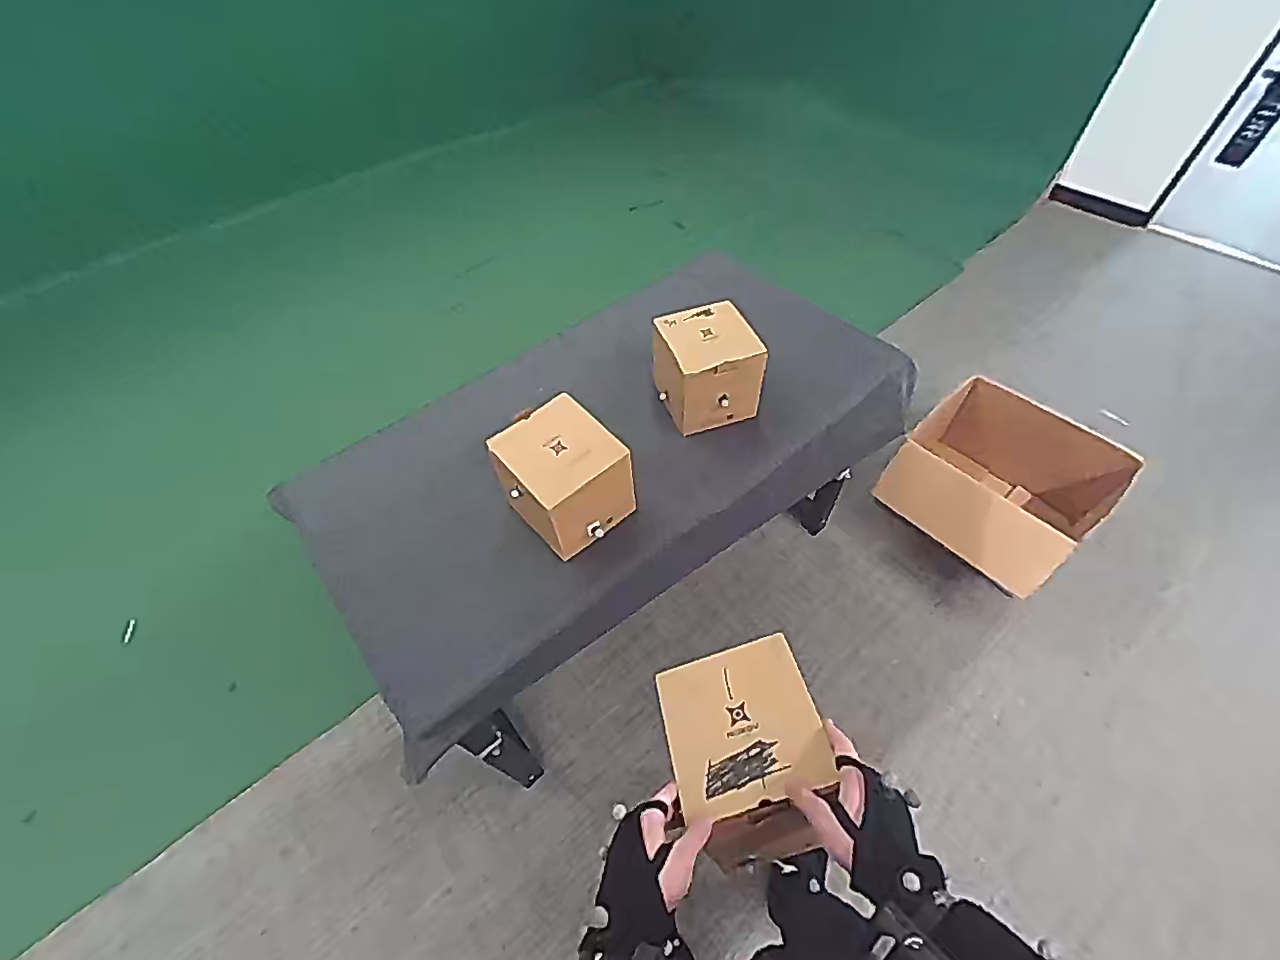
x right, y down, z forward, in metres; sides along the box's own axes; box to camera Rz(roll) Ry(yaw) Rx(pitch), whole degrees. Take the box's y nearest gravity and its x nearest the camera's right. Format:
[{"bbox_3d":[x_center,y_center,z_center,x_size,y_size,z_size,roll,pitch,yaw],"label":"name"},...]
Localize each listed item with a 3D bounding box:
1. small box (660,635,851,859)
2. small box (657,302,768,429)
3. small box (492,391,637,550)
[{"bbox_3d":[0.137,0.324,0.646,0.168,0.176,0.179,-19,39,4],"label":"small box"},{"bbox_3d":[0.139,-0.222,1.088,0.168,0.176,0.179,-16,55,-9],"label":"small box"},{"bbox_3d":[-0.122,-0.014,0.925,0.168,0.176,0.179,-37,60,-22],"label":"small box"}]
